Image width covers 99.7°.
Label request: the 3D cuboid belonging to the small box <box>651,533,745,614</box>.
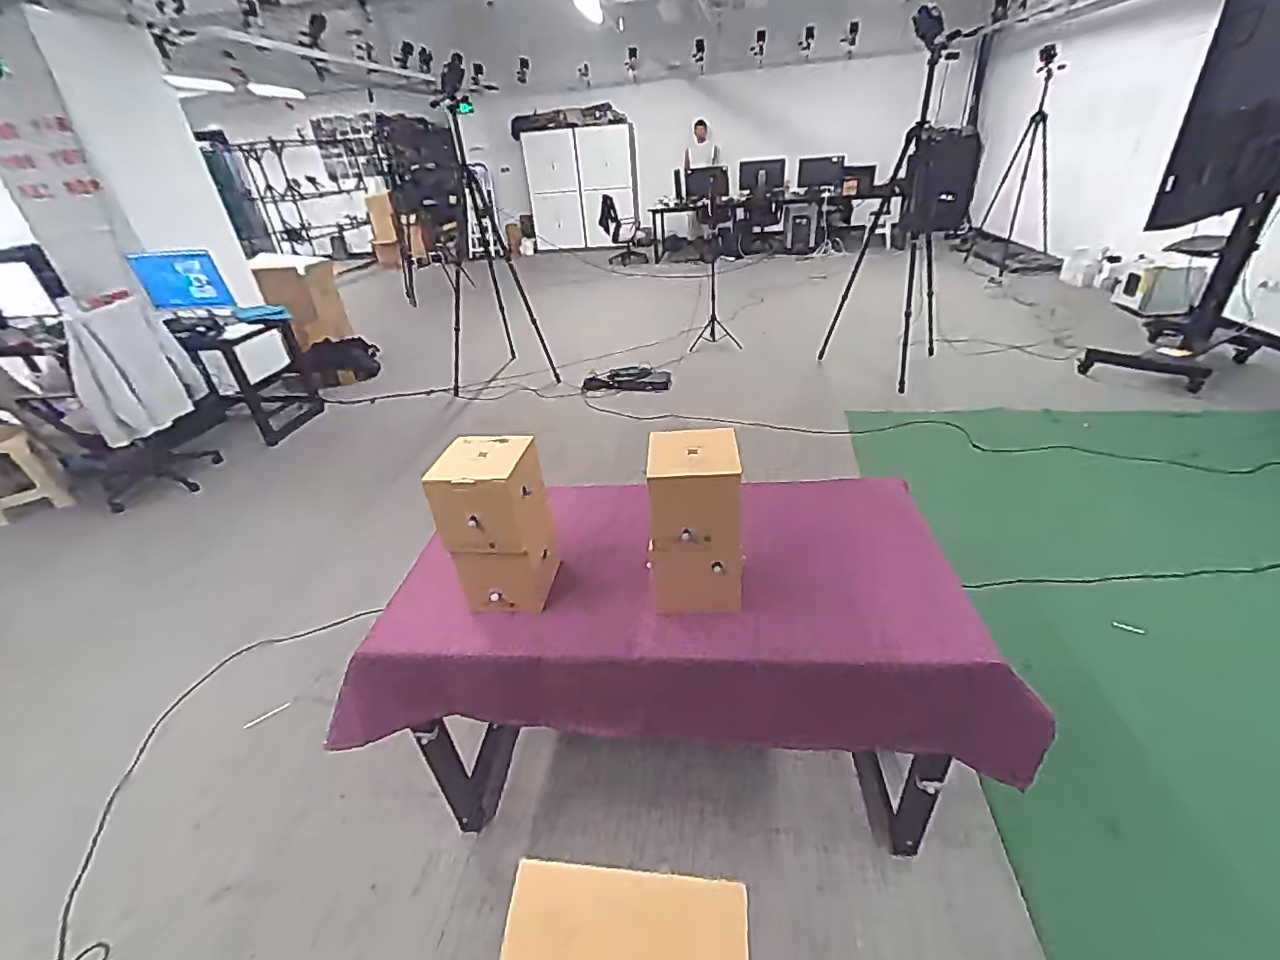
[{"bbox_3d":[0.121,0.160,1.116,0.179,0.176,0.168,-1,31,7],"label":"small box"}]

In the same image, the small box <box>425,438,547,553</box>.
[{"bbox_3d":[-0.293,0.031,1.077,0.168,0.176,0.179,0,33,8],"label":"small box"}]

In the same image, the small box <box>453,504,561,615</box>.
[{"bbox_3d":[-0.275,0.166,1.169,0.168,0.176,0.179,0,33,8],"label":"small box"}]

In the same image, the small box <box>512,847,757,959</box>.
[{"bbox_3d":[-0.005,0.394,0.397,0.168,0.176,0.179,2,49,6],"label":"small box"}]

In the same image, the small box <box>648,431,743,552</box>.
[{"bbox_3d":[0.106,0.020,1.033,0.168,0.176,0.179,-3,32,6],"label":"small box"}]
